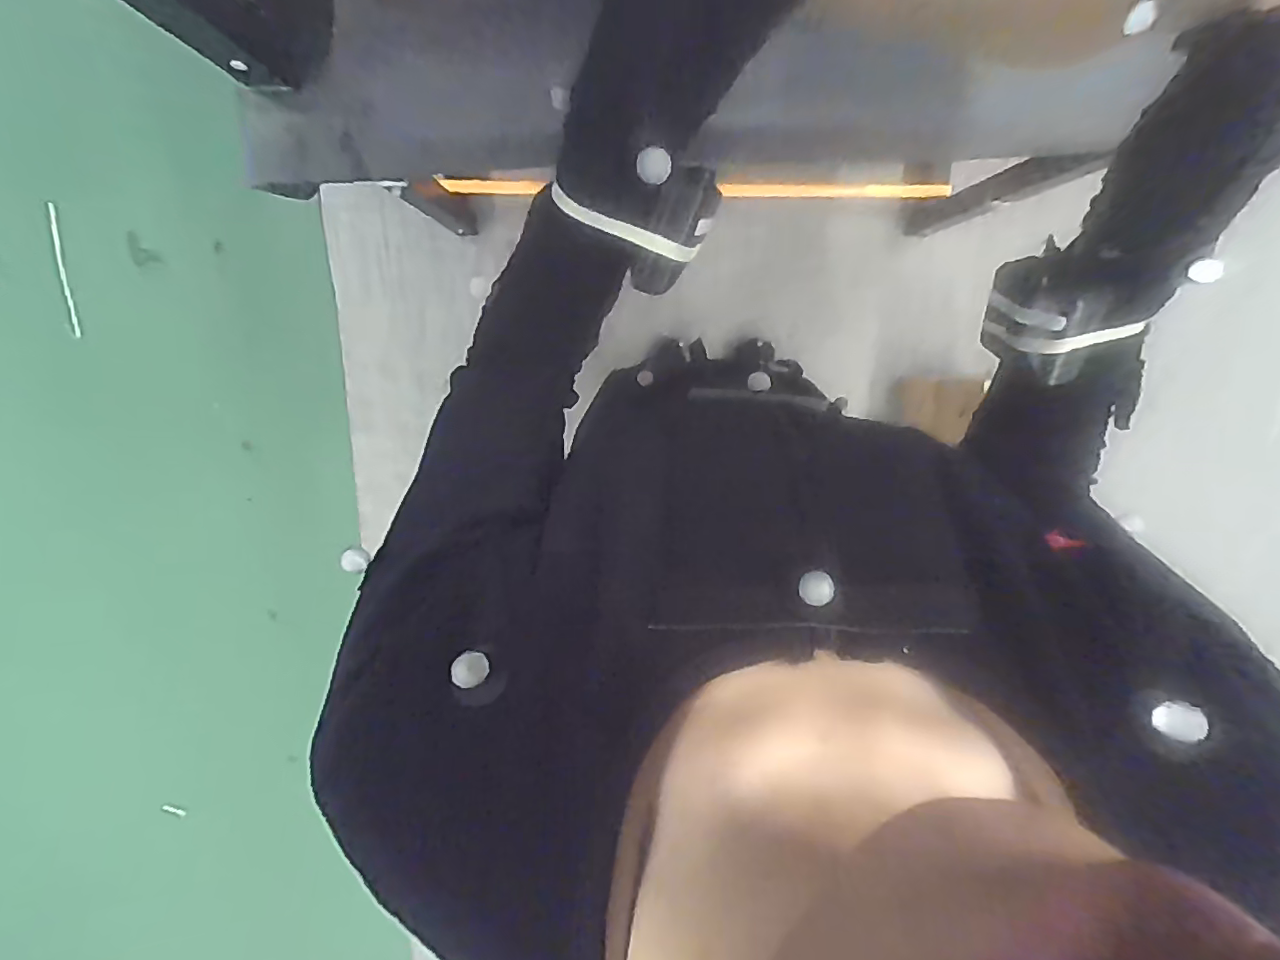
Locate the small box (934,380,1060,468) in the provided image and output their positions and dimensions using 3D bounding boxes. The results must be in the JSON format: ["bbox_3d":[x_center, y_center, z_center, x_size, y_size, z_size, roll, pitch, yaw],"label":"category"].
[{"bbox_3d":[0.787,-0.129,1.211,0.168,0.176,0.179,-2,102,0],"label":"small box"}]
